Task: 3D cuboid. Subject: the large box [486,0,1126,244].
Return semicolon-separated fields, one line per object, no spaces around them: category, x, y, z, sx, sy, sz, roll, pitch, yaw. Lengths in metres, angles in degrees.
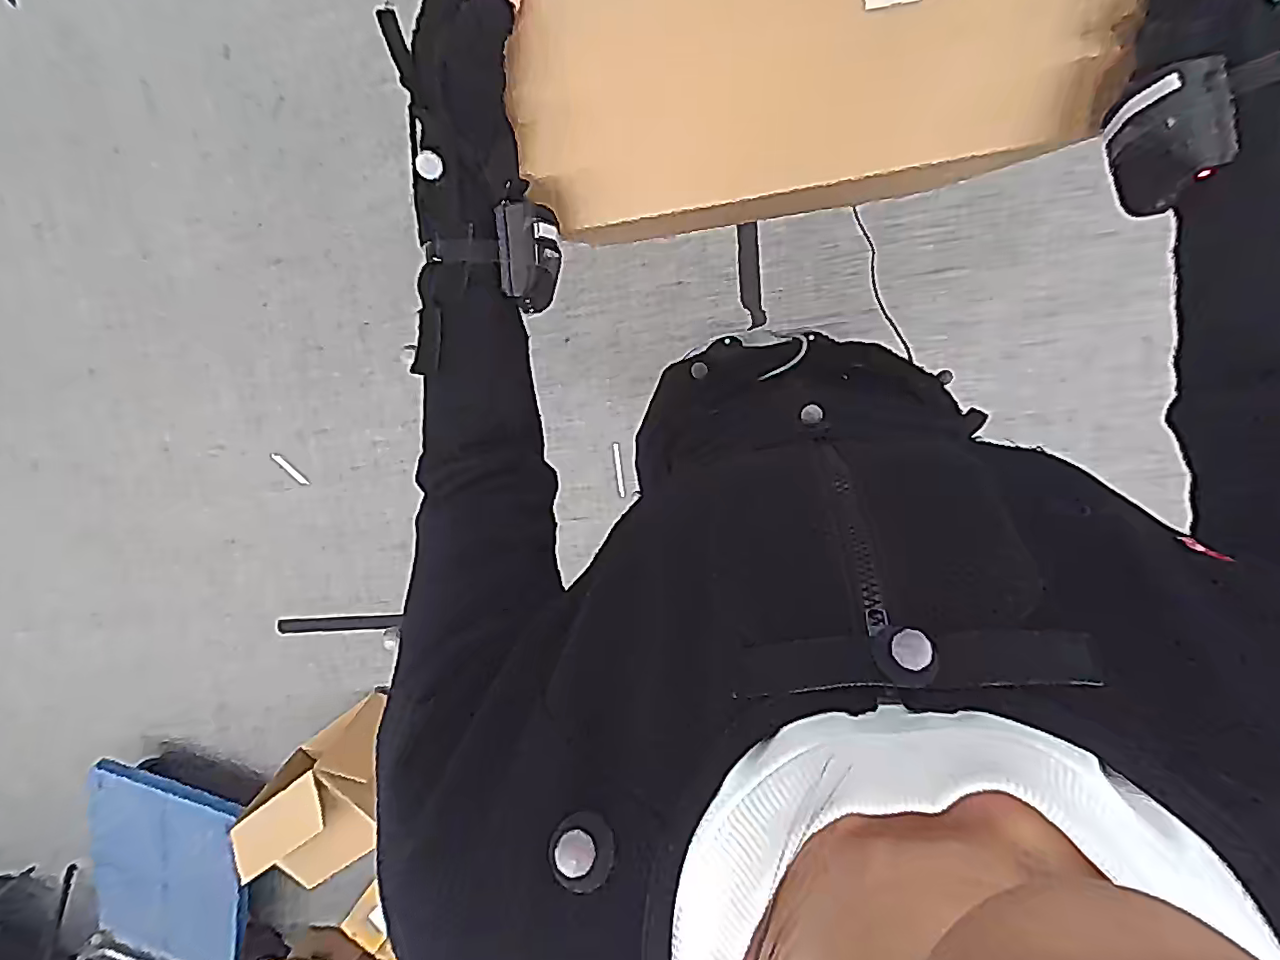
large box;0.102;-0.411;0.468;0.408;0.320;0.320;-7;111;9
